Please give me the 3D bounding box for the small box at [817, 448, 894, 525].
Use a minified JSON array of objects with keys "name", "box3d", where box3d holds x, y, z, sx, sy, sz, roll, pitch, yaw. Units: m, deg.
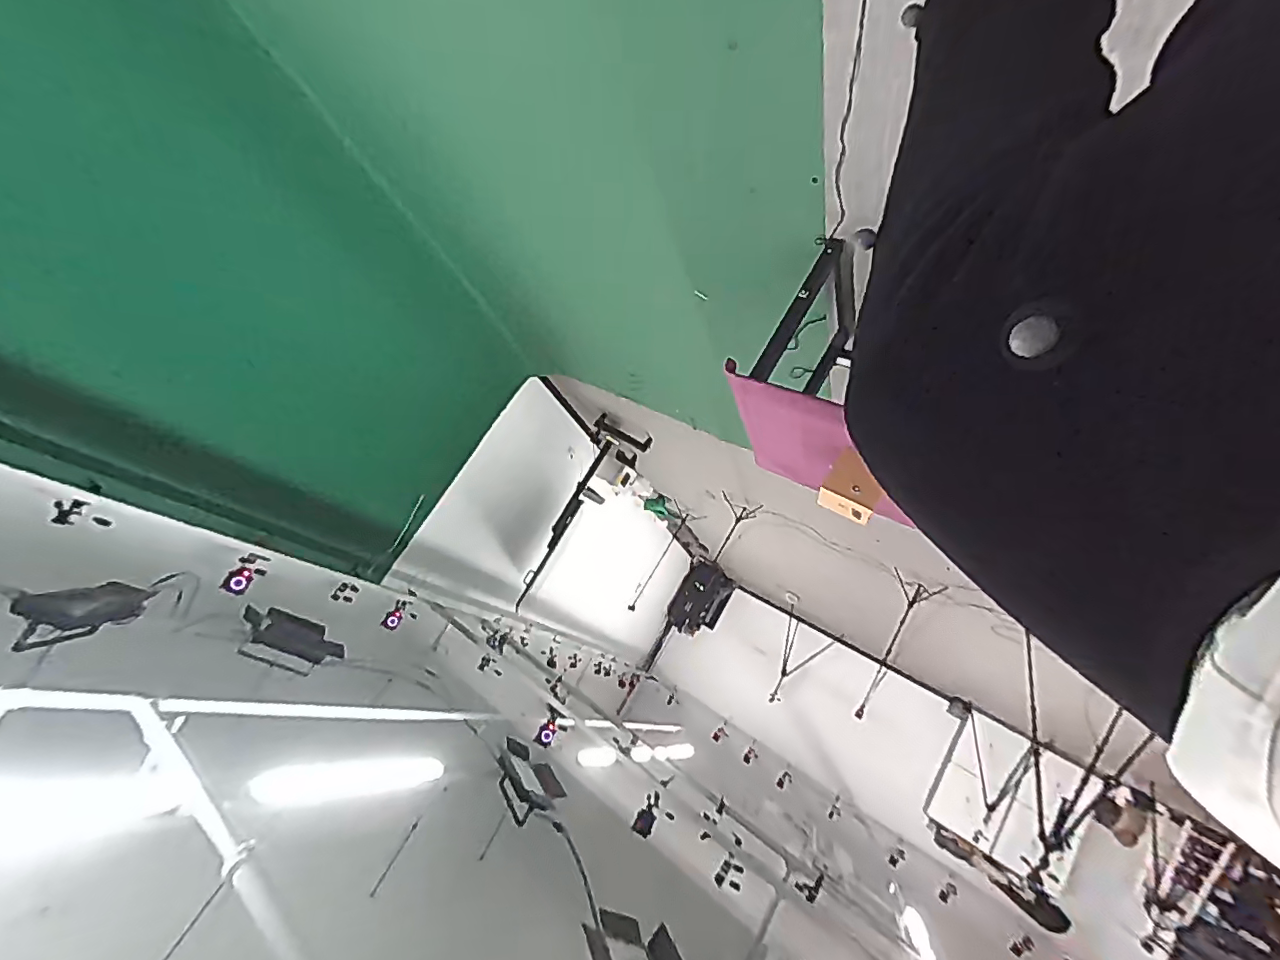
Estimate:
[{"name":"small box","box3d":[0.715,0.019,1.796,0.179,0.176,0.168,28,168,22]}]
